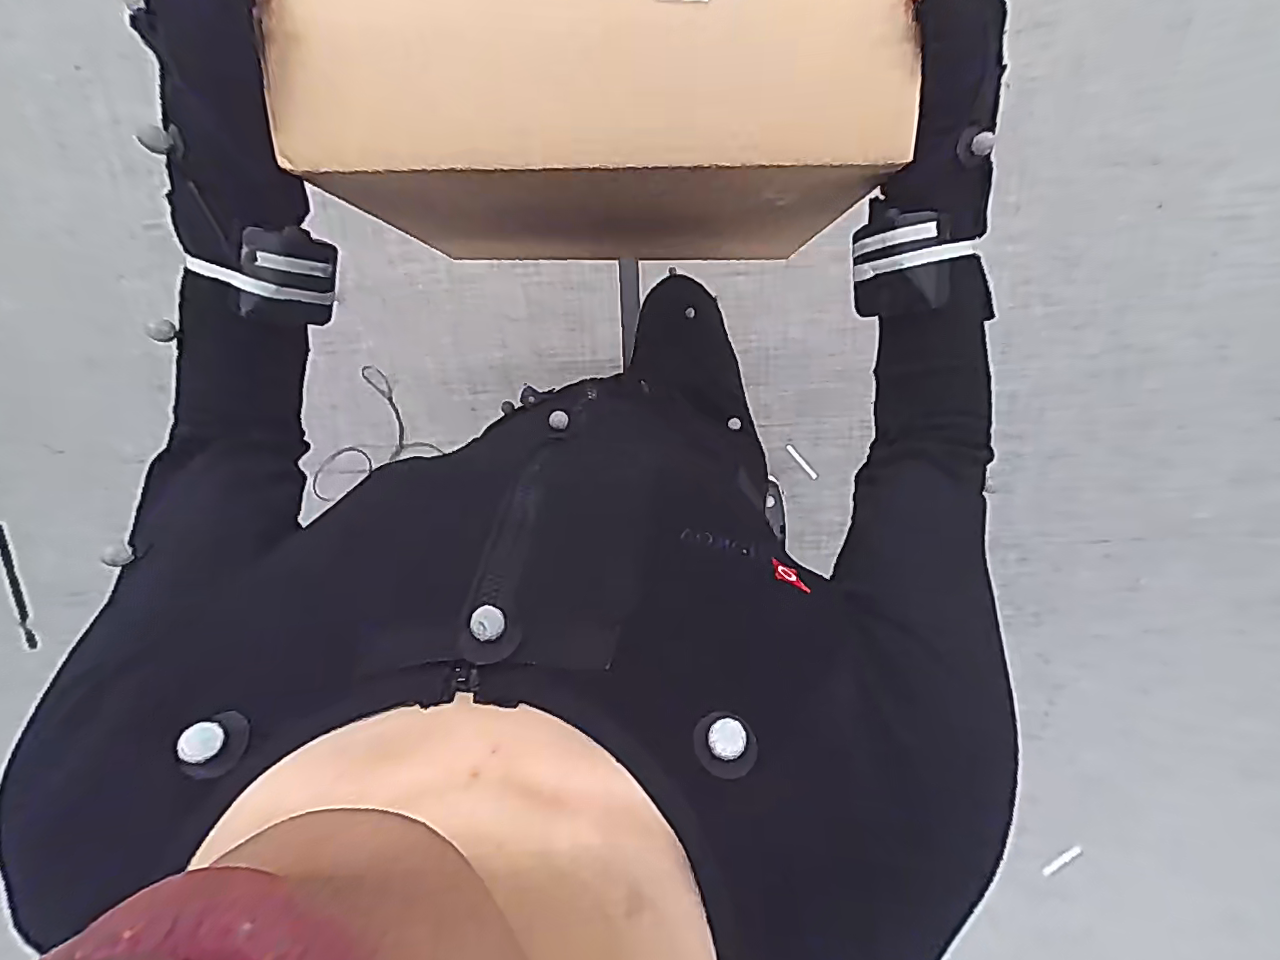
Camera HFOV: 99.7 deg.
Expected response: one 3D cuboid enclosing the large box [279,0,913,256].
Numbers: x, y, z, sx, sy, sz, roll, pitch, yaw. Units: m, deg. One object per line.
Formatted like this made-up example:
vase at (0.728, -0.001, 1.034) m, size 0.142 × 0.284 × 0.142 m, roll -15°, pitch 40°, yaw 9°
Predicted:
large box at (-0.028, -0.394, 0.470) m, size 0.408 × 0.320 × 0.320 m, roll 0°, pitch 102°, yaw 1°
